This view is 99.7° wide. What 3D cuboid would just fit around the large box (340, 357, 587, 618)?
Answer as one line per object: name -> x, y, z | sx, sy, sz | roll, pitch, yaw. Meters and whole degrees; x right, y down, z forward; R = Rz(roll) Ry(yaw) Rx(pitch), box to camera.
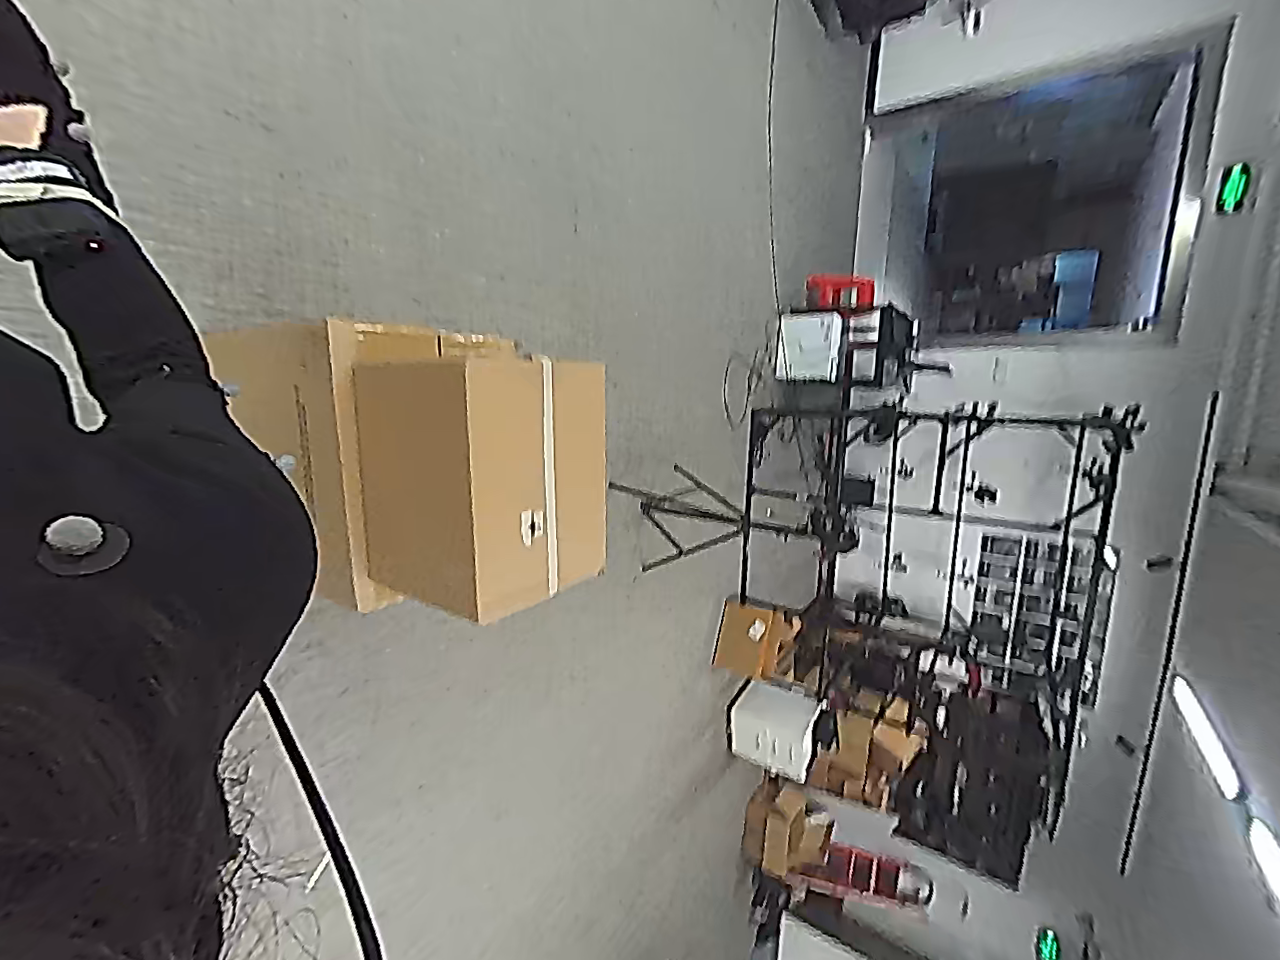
large box -> -0.310, -0.019, 0.998 | 0.320, 0.320, 0.408 | -13, 108, -54
